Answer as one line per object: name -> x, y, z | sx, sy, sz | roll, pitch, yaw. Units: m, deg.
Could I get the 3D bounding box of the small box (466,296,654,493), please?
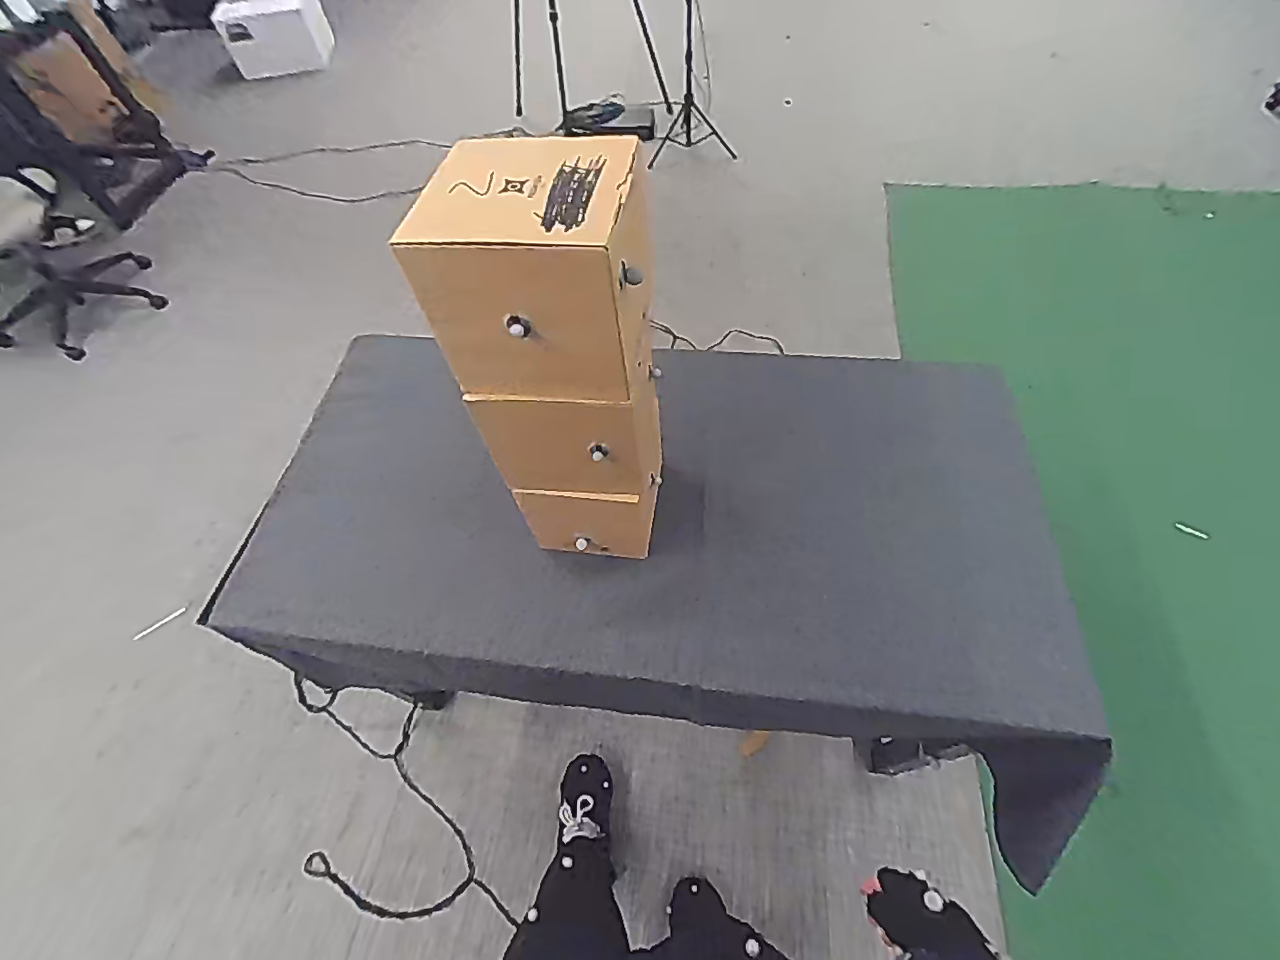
small box -> -0.078, -0.097, 0.649 | 0.179, 0.176, 0.168 | 3, 56, 7

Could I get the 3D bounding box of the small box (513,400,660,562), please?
small box -> -0.063, -0.003, 0.782 | 0.168, 0.176, 0.179 | 5, 57, 8

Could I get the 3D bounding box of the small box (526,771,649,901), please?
small box -> -0.117, 0.751, 1.155 | 0.179, 0.176, 0.168 | 25, 76, 38
